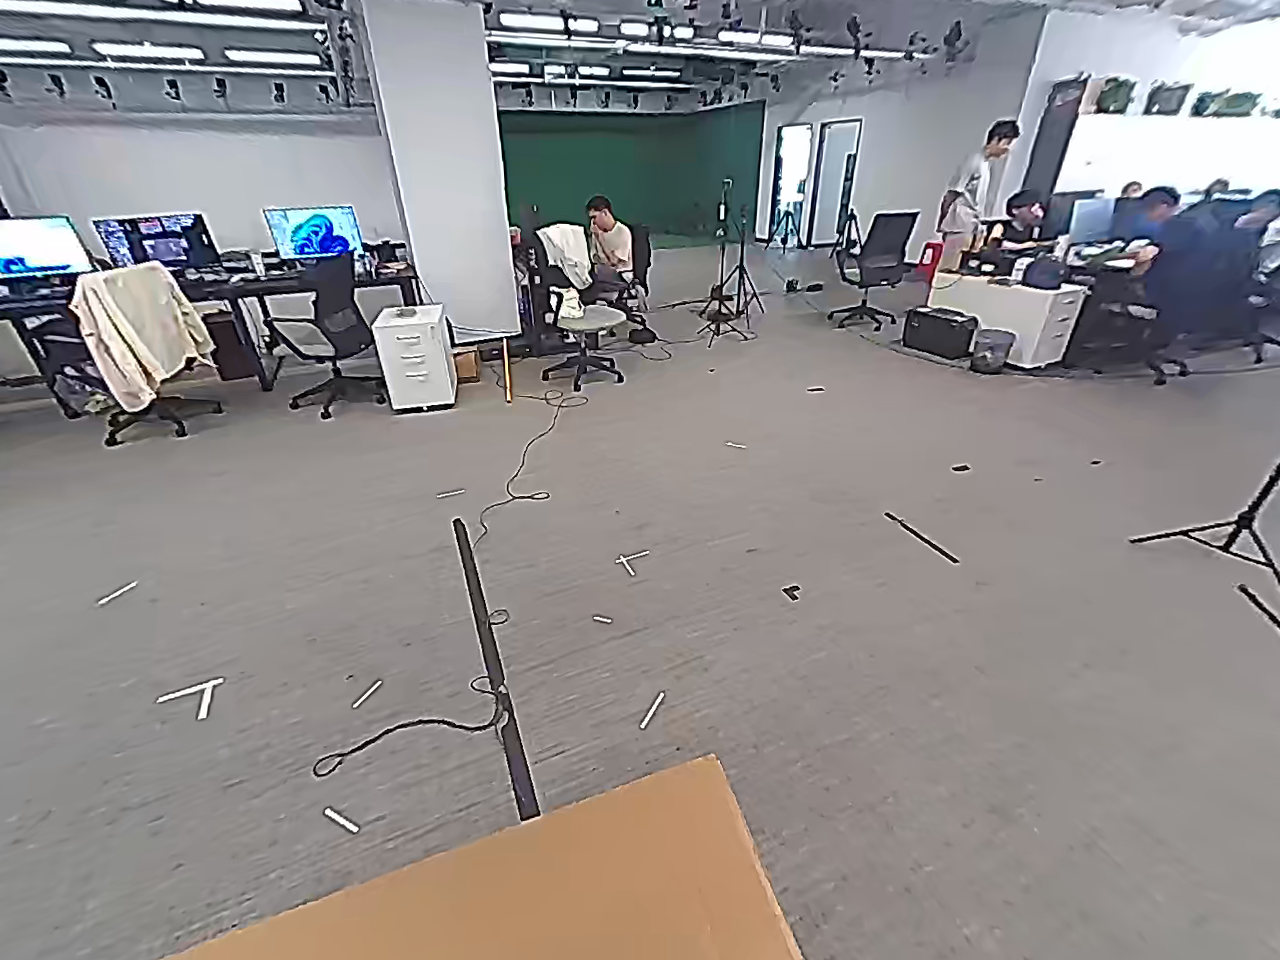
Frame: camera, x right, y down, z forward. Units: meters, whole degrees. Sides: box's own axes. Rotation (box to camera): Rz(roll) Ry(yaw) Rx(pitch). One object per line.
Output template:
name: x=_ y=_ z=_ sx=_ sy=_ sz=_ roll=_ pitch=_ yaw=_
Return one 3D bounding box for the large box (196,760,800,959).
large box: x=-0.069 y=0.482 z=0.387 sx=0.408 sy=0.320 sz=0.320 roll=-14 pitch=42 yaw=-11
